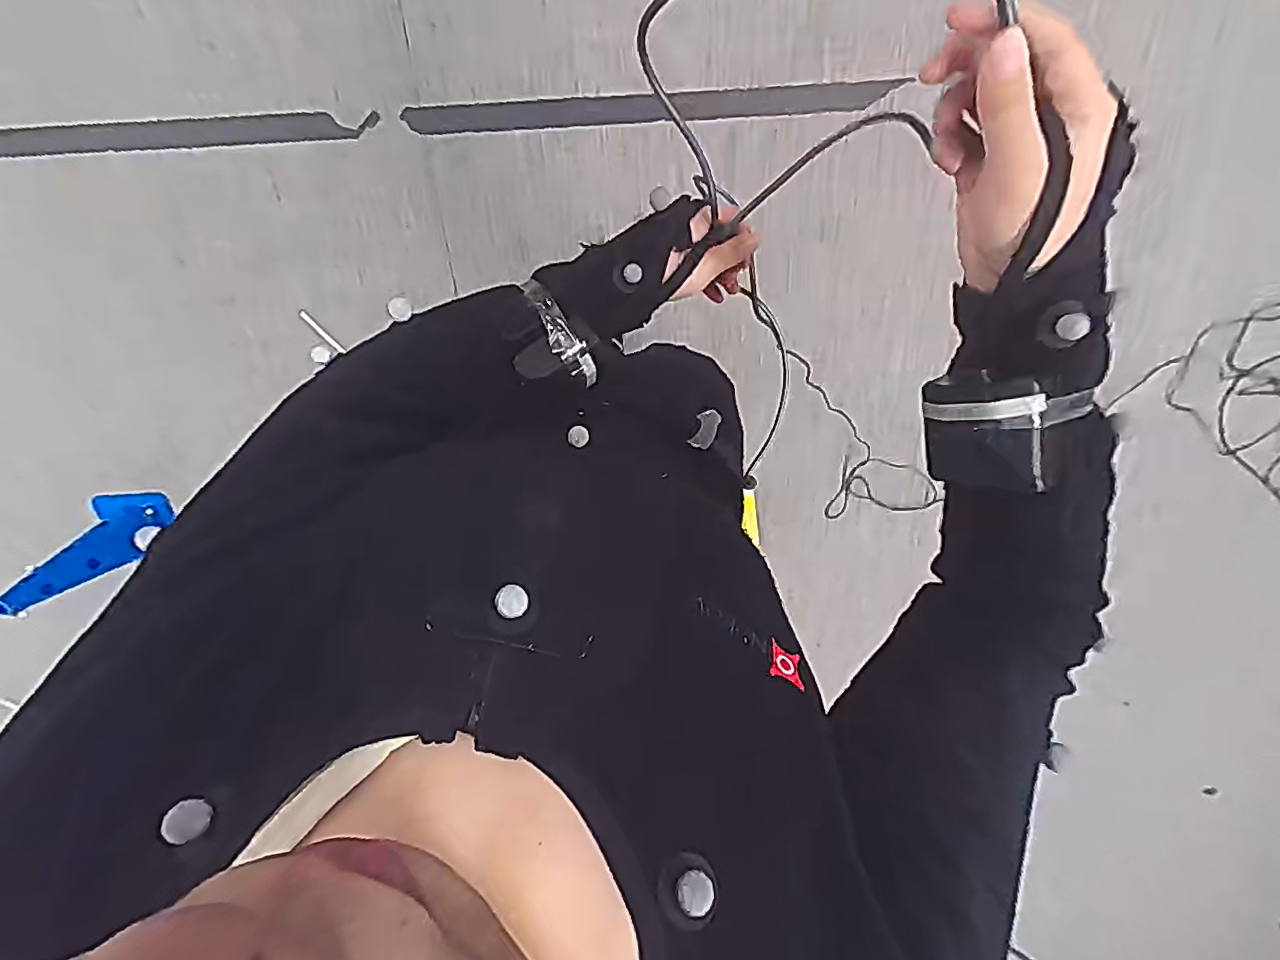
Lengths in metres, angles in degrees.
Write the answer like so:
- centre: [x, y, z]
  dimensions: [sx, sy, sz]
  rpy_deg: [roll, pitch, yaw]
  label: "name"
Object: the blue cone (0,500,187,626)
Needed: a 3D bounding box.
- centre: [-1.325, 0.205, 1.290]
  dimensions: [0.193, 0.380, 0.192]
  rpy_deg: [-3, 114, 0]
  label: "blue cone"
